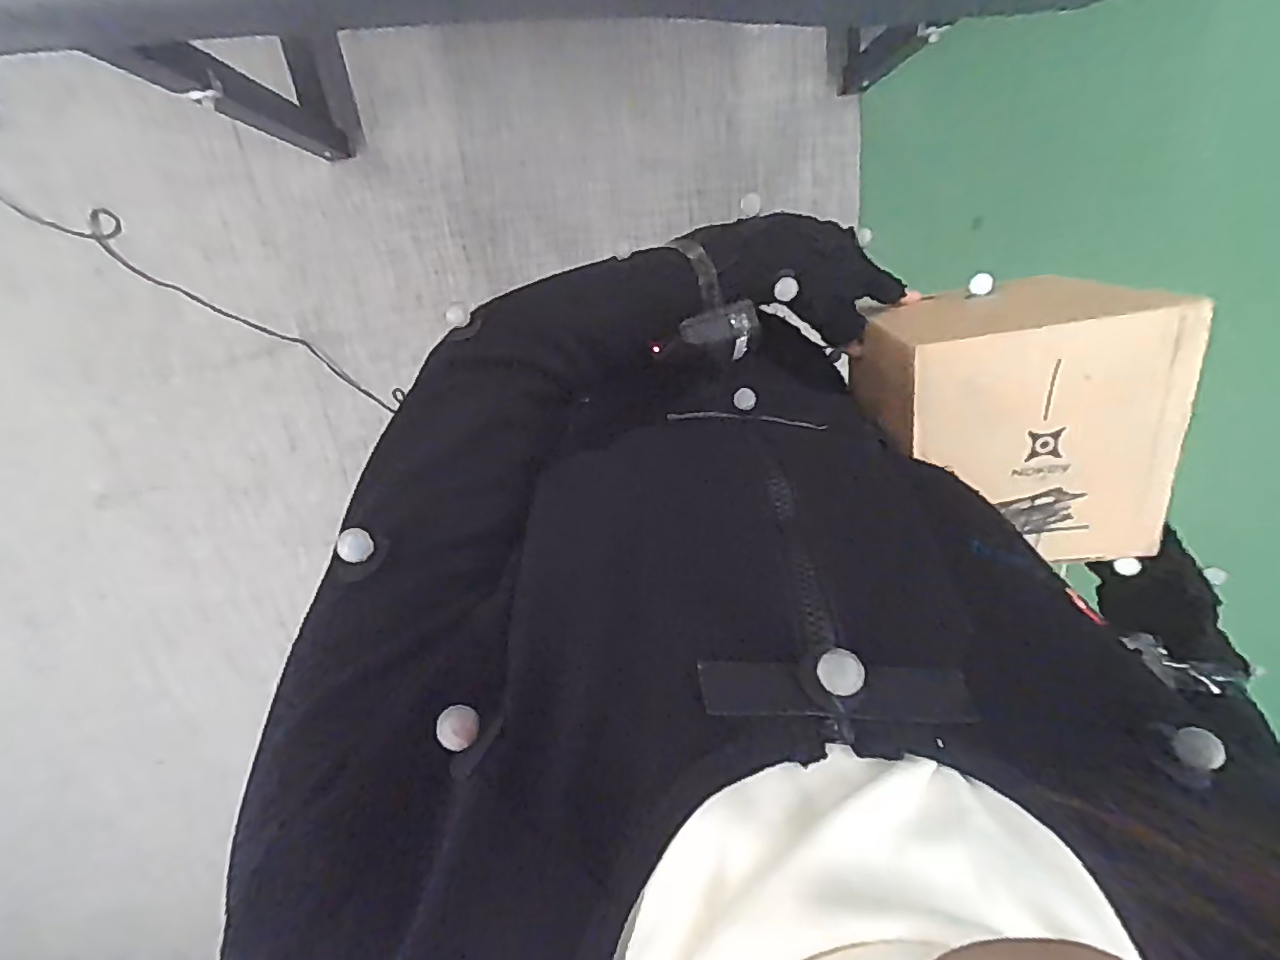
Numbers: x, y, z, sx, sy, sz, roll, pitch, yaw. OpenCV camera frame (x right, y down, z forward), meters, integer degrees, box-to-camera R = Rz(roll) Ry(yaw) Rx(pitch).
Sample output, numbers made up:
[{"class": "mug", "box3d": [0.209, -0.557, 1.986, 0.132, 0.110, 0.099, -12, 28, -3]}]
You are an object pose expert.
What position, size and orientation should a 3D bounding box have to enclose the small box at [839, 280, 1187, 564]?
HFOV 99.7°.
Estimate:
[{"class": "small box", "box3d": [0.267, -0.054, 0.440, 0.168, 0.176, 0.179, -7, 113, 9]}]
